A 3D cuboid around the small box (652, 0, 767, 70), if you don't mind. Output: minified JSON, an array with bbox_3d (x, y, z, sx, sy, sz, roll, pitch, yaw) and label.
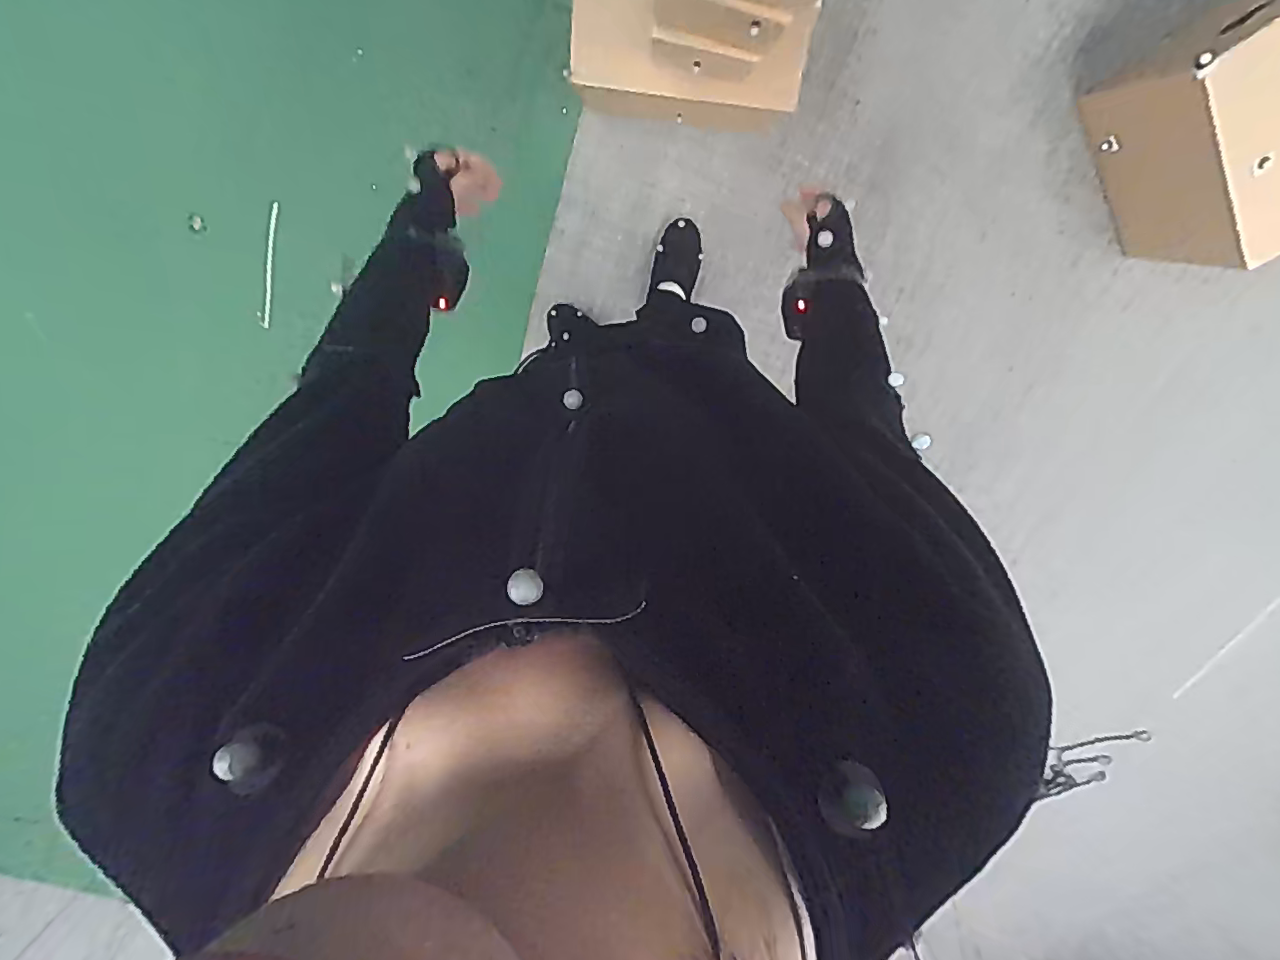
[{"bbox_3d":[0.117,-0.737,0.795,0.168,0.176,0.179,11,117,-5],"label":"small box"}]

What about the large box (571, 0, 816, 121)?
[{"bbox_3d":[0.099,-0.880,0.999,0.408,0.320,0.320,7,116,-1],"label":"large box"}]

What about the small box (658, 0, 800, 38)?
[{"bbox_3d":[0.120,-0.668,0.648,0.179,0.176,0.168,12,117,-6],"label":"small box"}]
